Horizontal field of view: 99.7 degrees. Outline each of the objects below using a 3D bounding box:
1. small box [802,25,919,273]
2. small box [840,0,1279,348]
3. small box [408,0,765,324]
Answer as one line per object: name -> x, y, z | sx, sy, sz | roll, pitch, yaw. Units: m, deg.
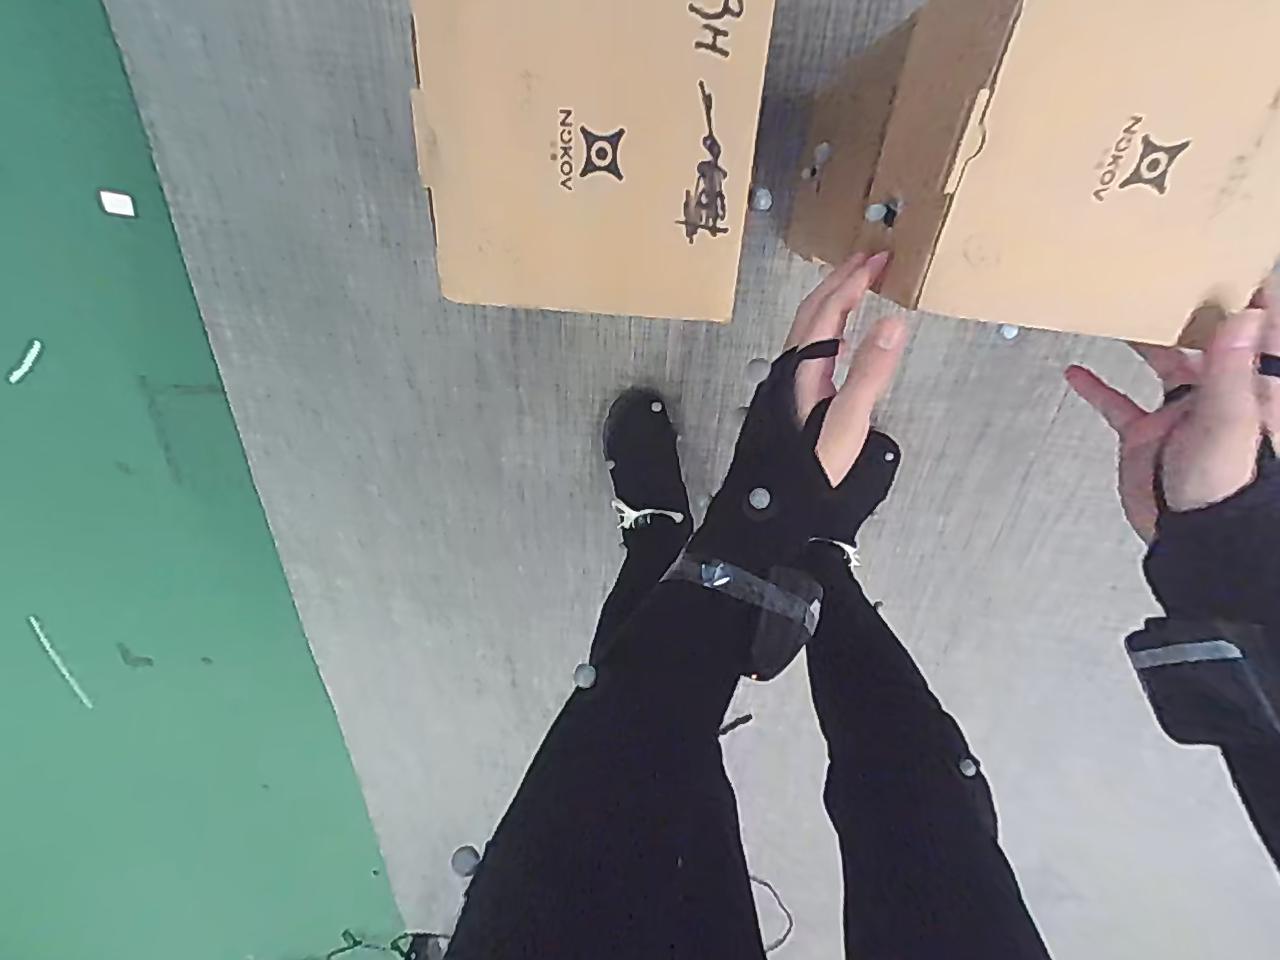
small box -> 0.261, -0.273, 0.481 | 0.179, 0.176, 0.168 | 8, 119, 2
small box -> 0.247, -0.194, 0.339 | 0.179, 0.176, 0.168 | 8, 119, 0
small box -> -0.024, -0.210, 0.358 | 0.179, 0.176, 0.168 | 6, 119, 3
